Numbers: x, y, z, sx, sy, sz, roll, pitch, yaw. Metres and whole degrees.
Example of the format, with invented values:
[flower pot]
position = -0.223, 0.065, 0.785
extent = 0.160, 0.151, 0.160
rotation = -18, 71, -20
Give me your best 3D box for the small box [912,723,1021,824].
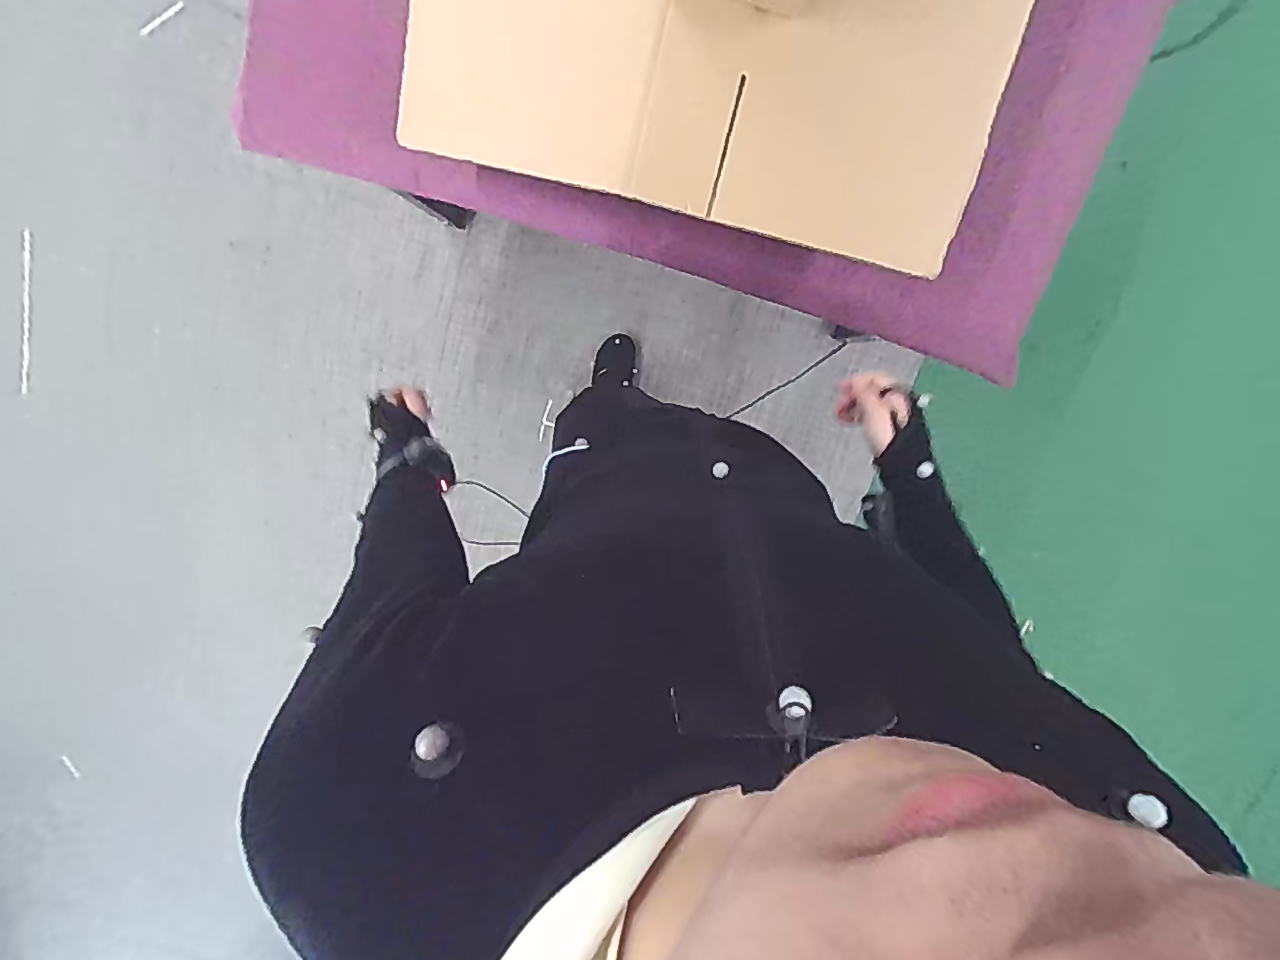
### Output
[small box]
position = 0.922, 0.831, 1.549
extent = 0.179, 0.176, 0.168
rotation = 20, 103, -3
